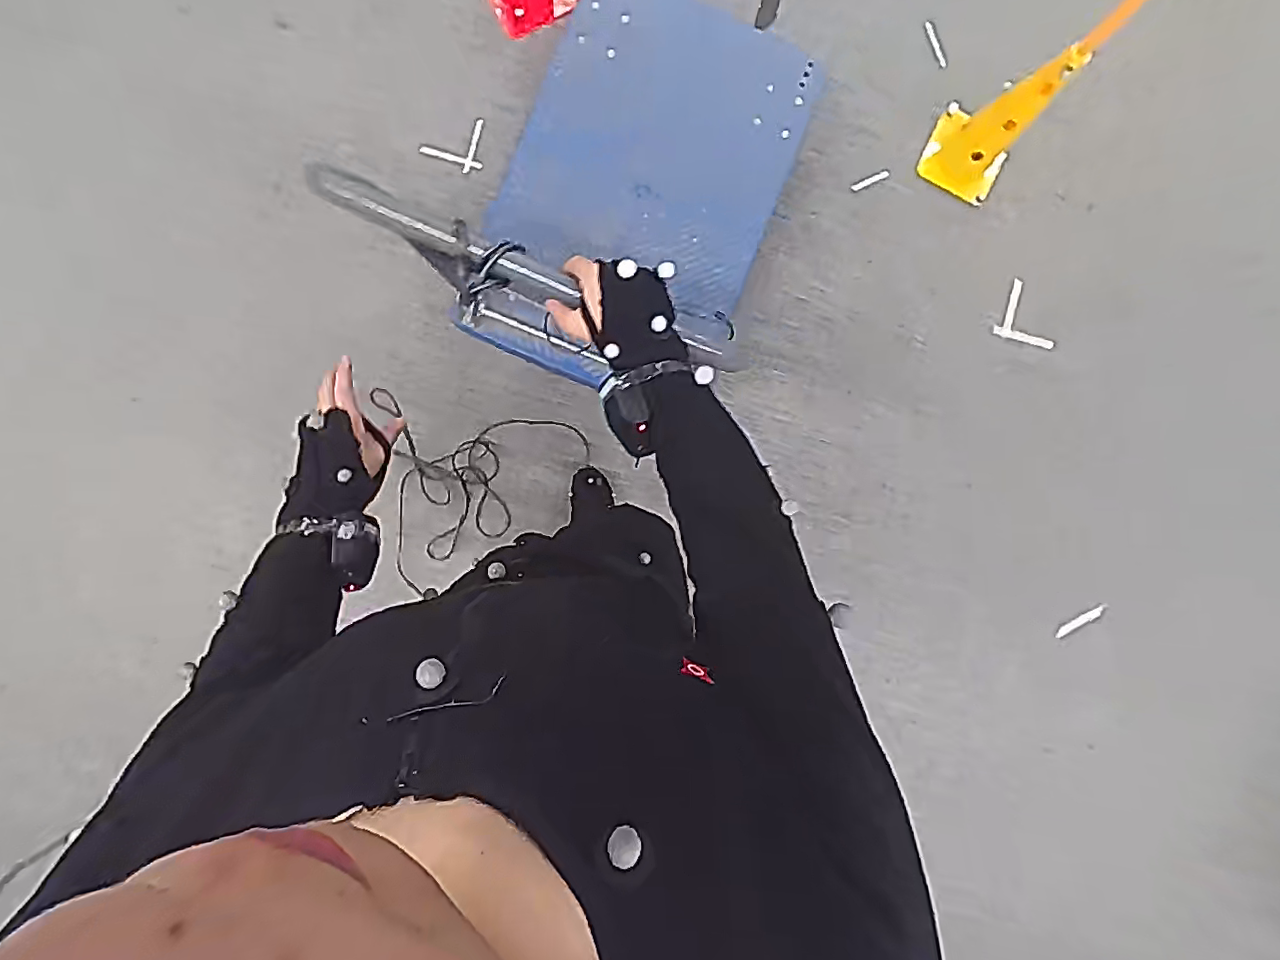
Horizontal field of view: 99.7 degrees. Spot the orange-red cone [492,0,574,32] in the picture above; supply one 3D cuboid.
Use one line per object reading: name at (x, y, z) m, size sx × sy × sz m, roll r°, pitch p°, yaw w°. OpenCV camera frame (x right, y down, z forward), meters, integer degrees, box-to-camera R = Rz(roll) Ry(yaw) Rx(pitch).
orange-red cone at (-0.266, -1.216, 1.153) m, size 0.199 × 0.360 × 0.198 m, roll -29°, pitch 94°, yaw -4°
